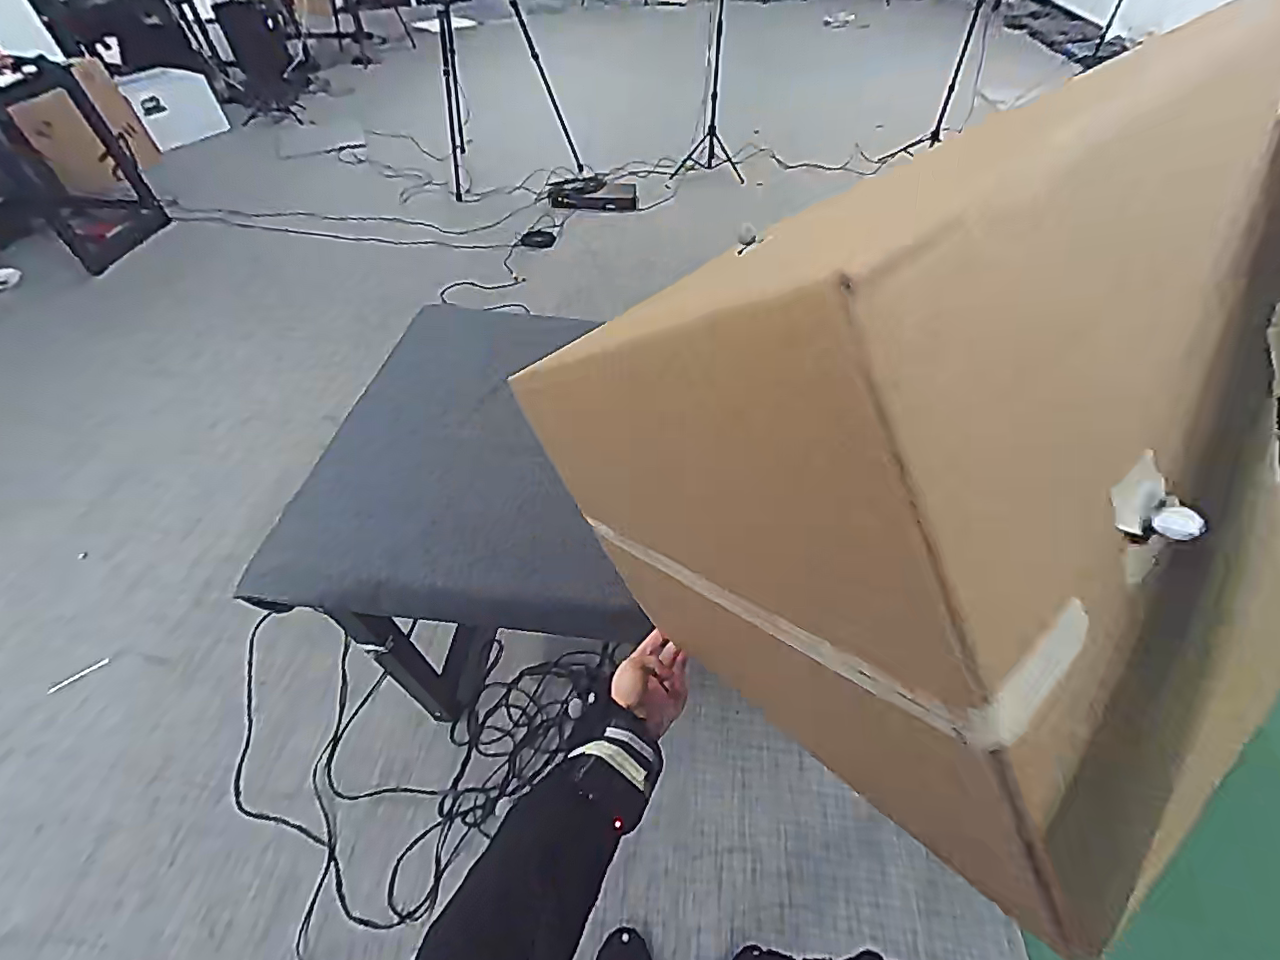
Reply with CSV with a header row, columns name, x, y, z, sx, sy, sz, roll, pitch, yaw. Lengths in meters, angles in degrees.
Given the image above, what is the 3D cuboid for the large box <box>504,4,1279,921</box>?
name,x,y,z,sx,sy,sz,roll,pitch,yaw
large box,0.148,-0.023,0.407,0.320,0.320,0.408,-36,21,-19
